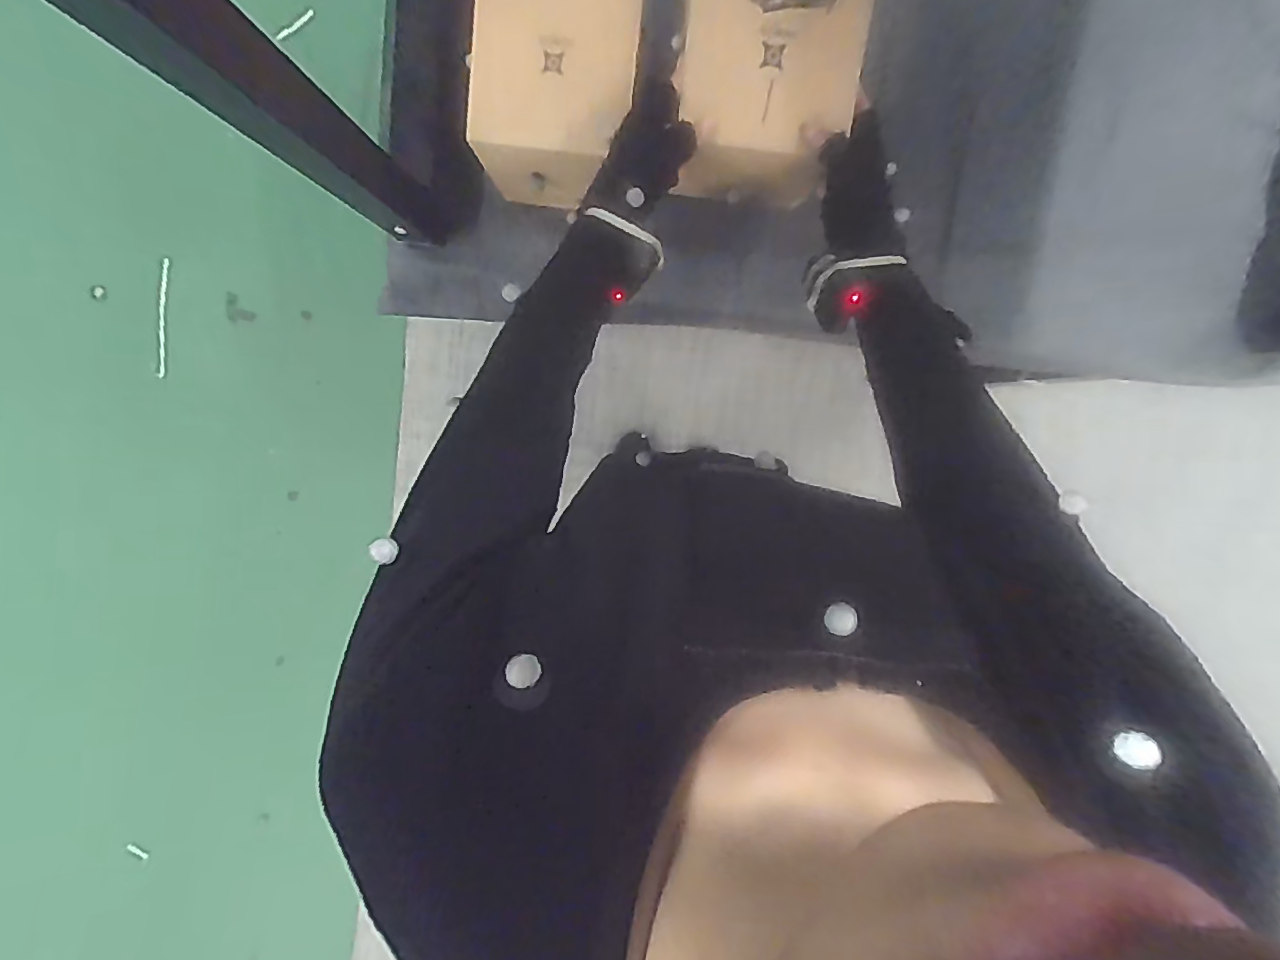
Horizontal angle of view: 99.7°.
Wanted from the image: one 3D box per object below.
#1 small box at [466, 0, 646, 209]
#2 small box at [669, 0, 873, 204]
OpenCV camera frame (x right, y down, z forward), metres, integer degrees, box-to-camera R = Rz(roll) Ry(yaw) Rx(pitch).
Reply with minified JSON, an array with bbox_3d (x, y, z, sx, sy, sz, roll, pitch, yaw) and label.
[{"bbox_3d":[-0.083,-0.429,0.610,0.168,0.176,0.179,6,97,0],"label":"small box"},{"bbox_3d":[0.122,-0.414,0.568,0.168,0.176,0.179,6,104,-1],"label":"small box"}]
